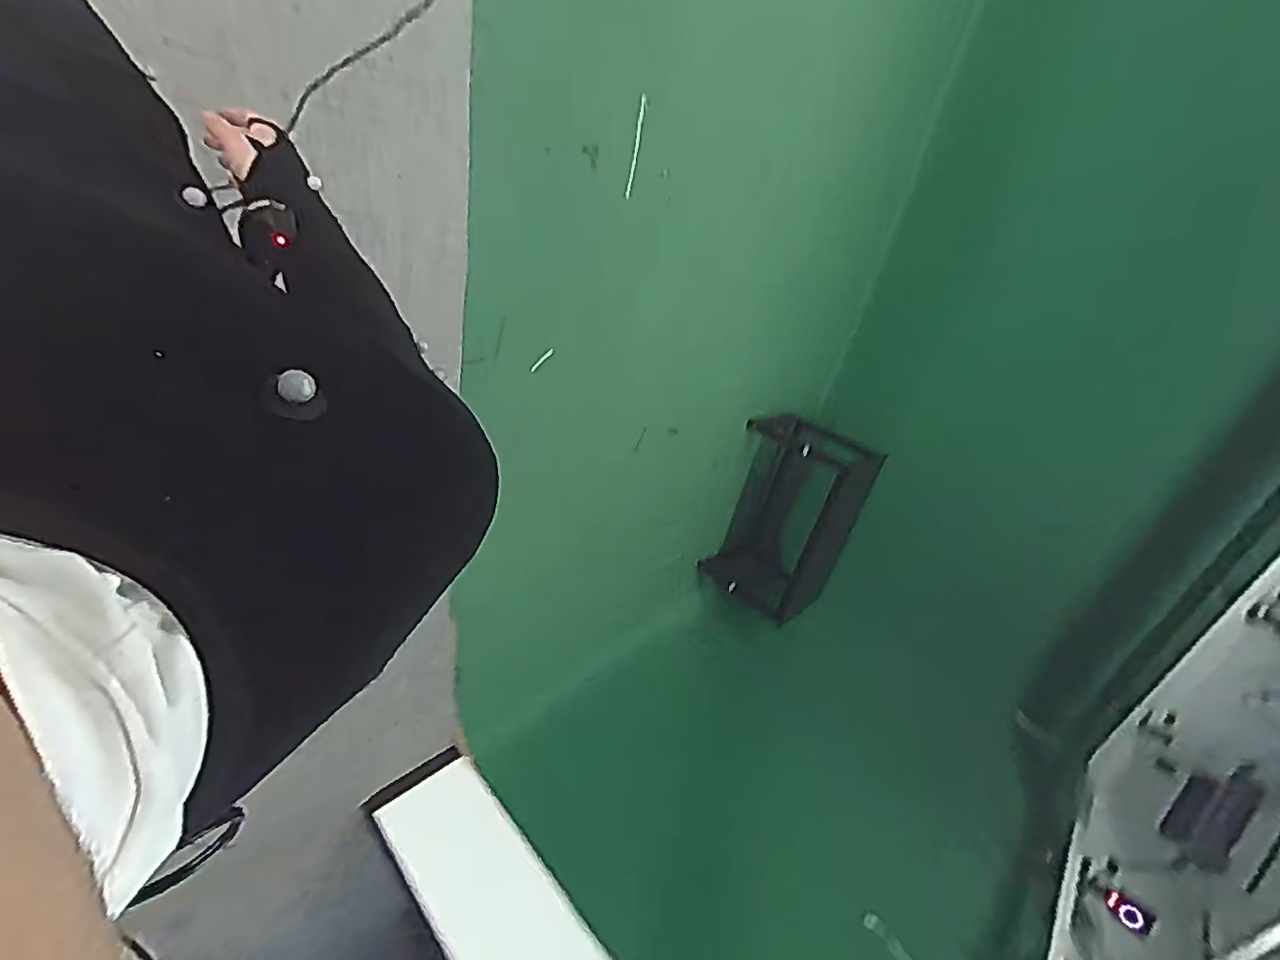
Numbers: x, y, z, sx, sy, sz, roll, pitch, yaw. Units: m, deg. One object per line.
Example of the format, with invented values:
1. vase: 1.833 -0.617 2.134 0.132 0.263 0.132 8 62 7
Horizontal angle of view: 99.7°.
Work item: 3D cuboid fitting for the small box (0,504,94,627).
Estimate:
1. small box: -1.228 0.164 1.070 0.179 0.176 0.168 -13 126 -47
